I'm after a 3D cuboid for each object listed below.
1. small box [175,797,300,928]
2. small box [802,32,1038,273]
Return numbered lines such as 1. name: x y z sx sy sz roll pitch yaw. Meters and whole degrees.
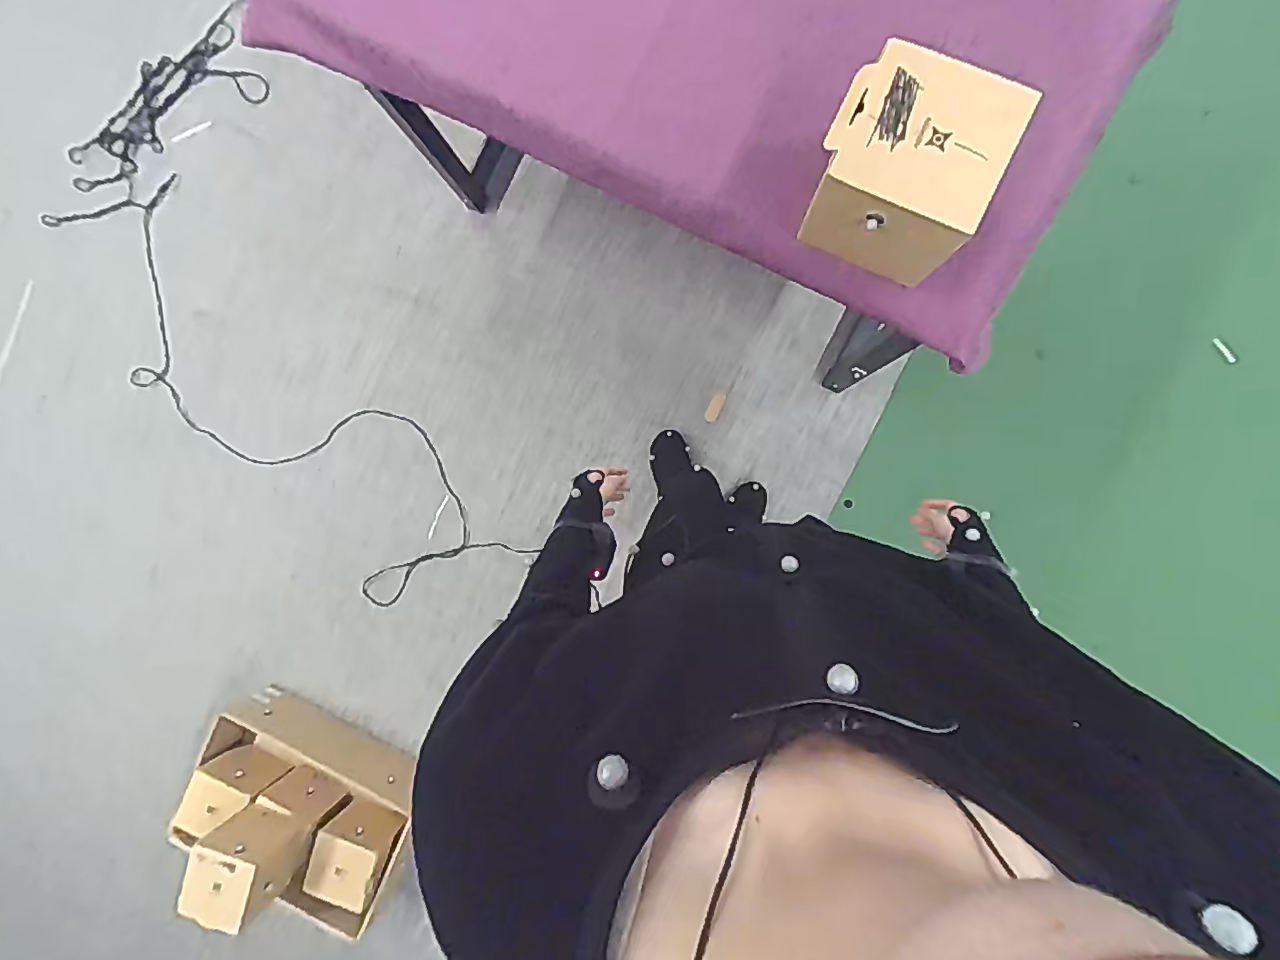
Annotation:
1. small box: -0.983 0.934 1.335 0.168 0.176 0.179 16 92 5
2. small box: 0.322 -0.383 0.667 0.179 0.176 0.168 26 94 5
